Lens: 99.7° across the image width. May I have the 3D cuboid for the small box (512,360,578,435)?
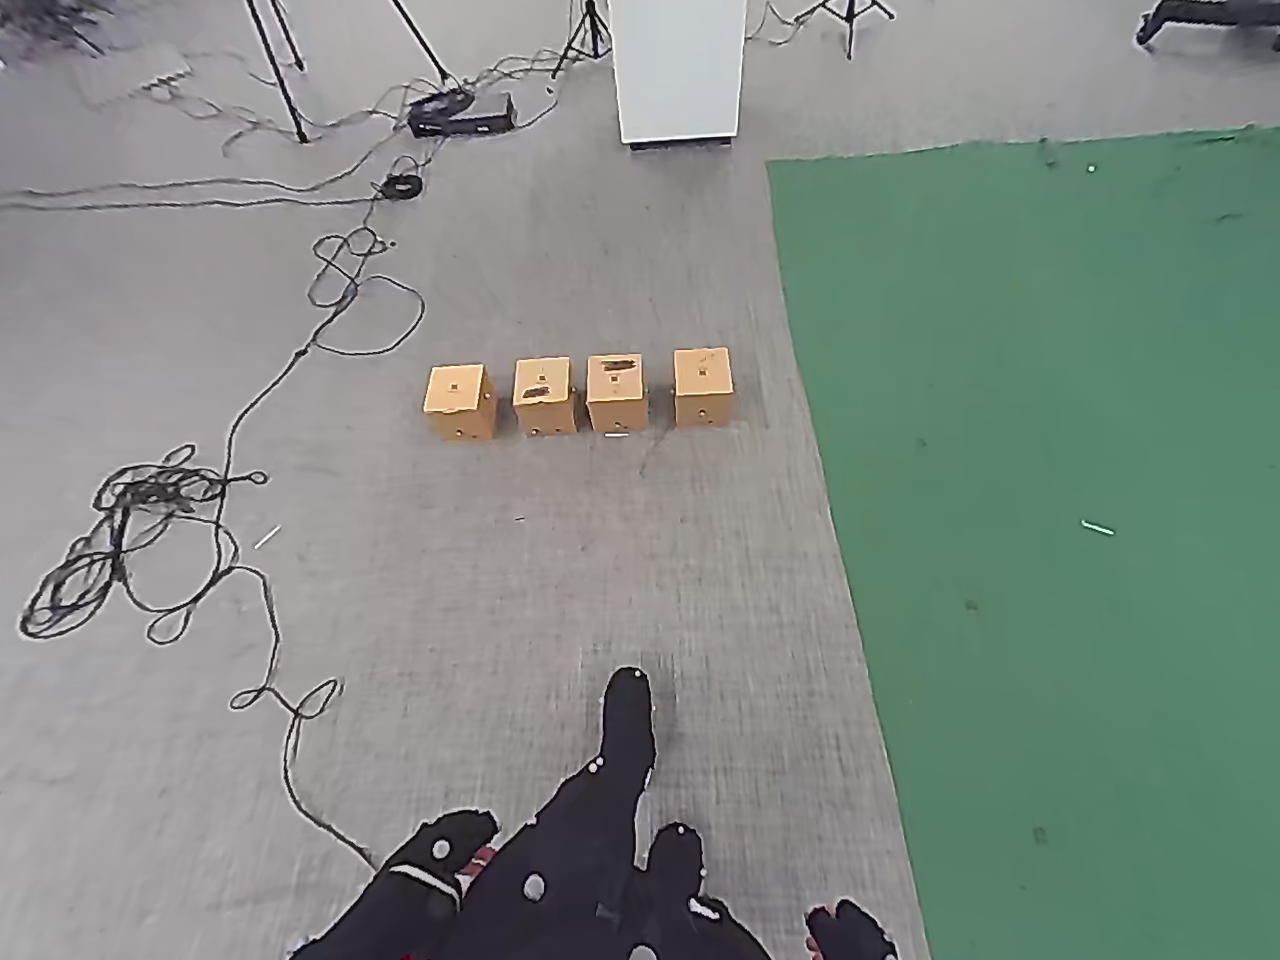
[{"bbox_3d":[-0.294,-0.253,1.712,0.168,0.176,0.179,-4,60,3],"label":"small box"}]

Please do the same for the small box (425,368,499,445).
[{"bbox_3d":[-0.559,-0.233,1.725,0.168,0.176,0.179,-3,61,3],"label":"small box"}]

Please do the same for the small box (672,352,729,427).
[{"bbox_3d":[0.186,-0.275,1.689,0.168,0.176,0.179,-2,61,3],"label":"small box"}]
